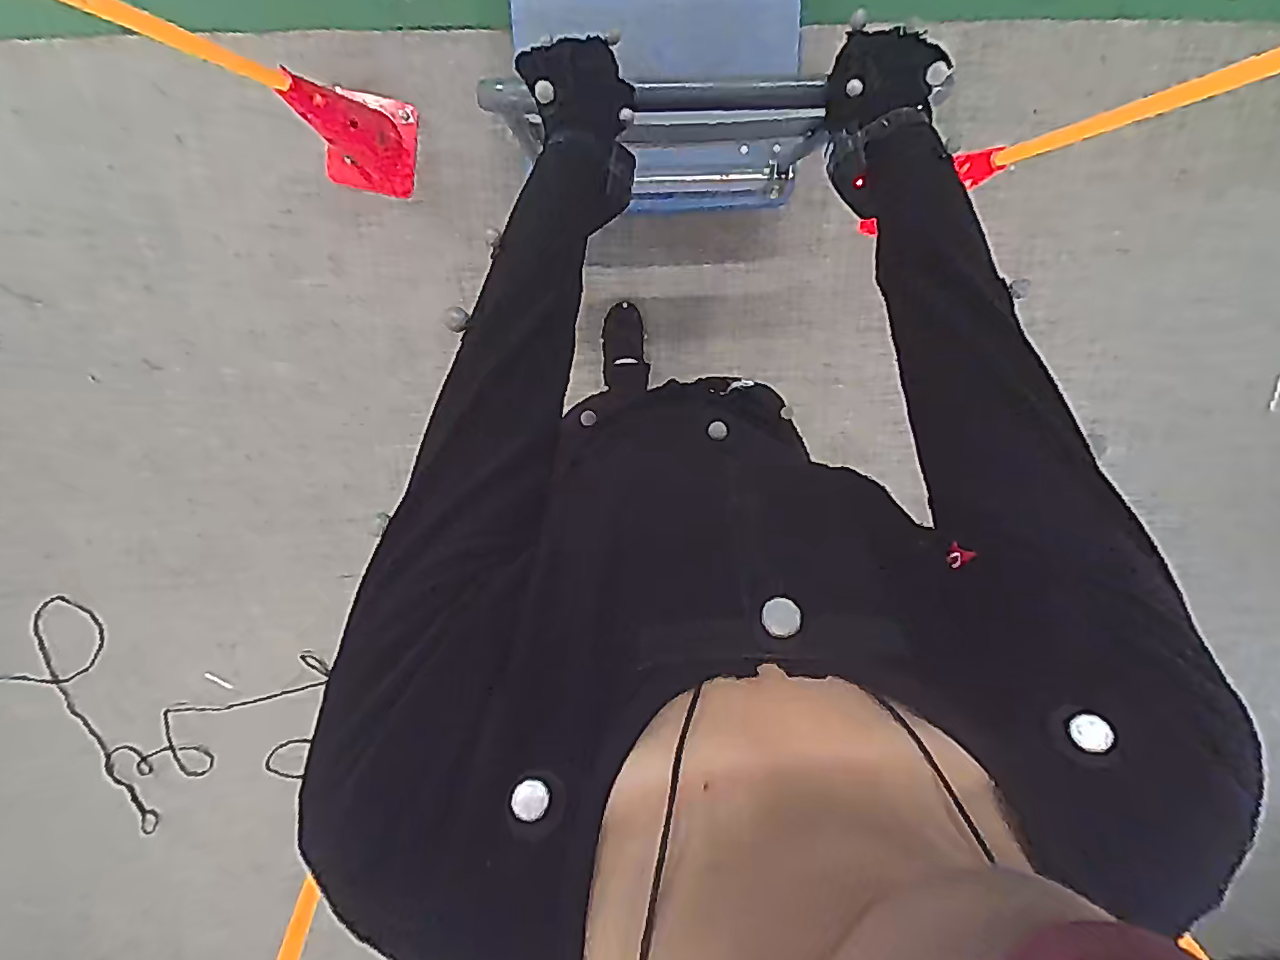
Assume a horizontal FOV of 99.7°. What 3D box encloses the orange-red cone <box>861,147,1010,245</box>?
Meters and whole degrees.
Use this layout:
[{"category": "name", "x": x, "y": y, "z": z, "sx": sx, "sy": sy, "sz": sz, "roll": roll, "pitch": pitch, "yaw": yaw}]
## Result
[{"category": "orange-red cone", "x": 0.668, "y": -0.649, "z": 1.175, "sx": 0.198, "sy": 0.360, "sz": 0.199, "roll": 9, "pitch": 107, "yaw": -5}]
